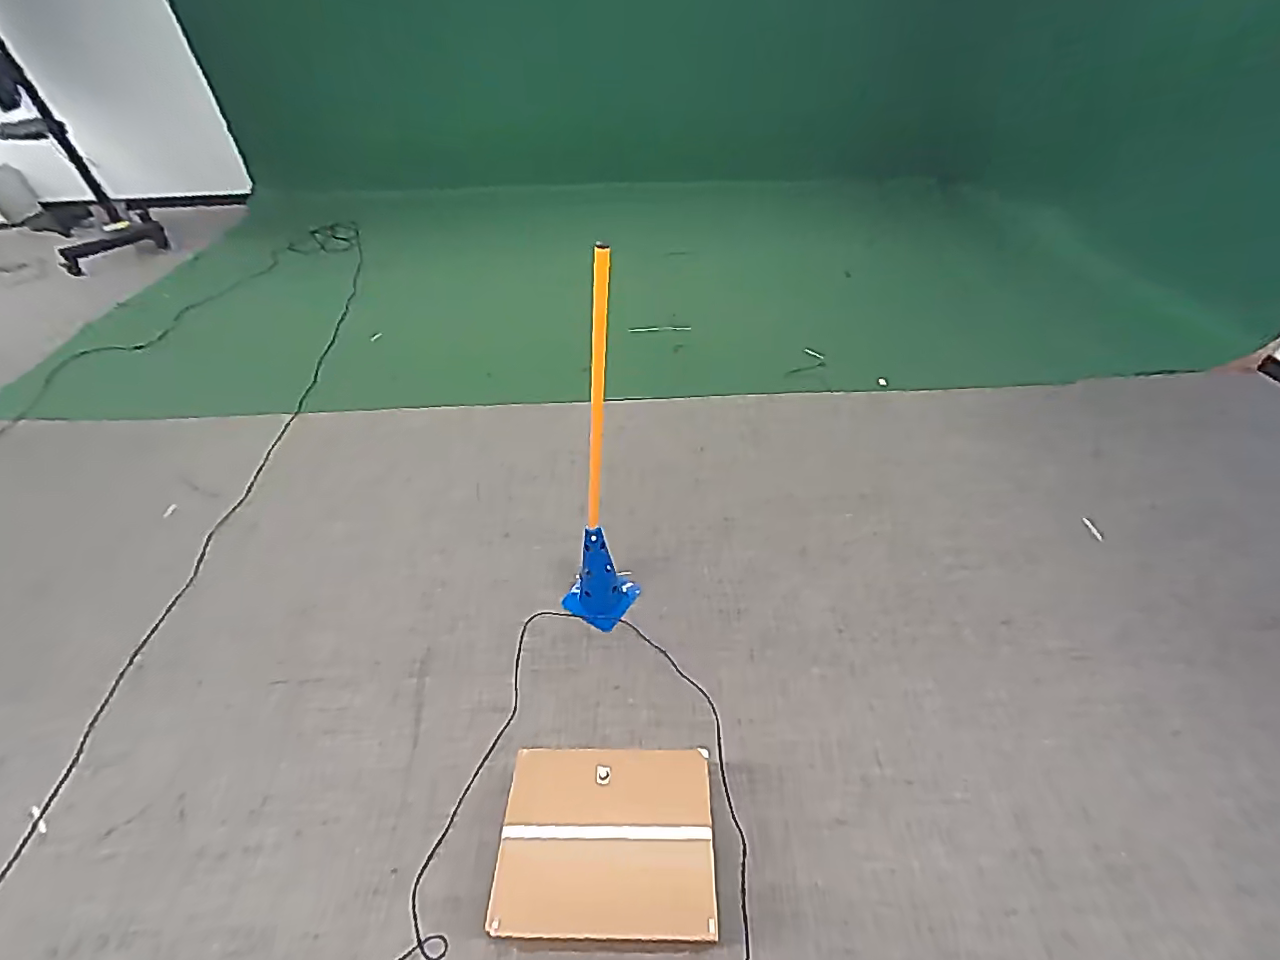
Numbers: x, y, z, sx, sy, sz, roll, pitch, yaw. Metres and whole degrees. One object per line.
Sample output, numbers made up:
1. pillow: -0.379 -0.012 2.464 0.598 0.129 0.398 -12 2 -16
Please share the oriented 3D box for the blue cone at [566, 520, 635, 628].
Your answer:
1. blue cone: -0.129 0.258 1.644 0.192 0.380 0.193 22 48 22
